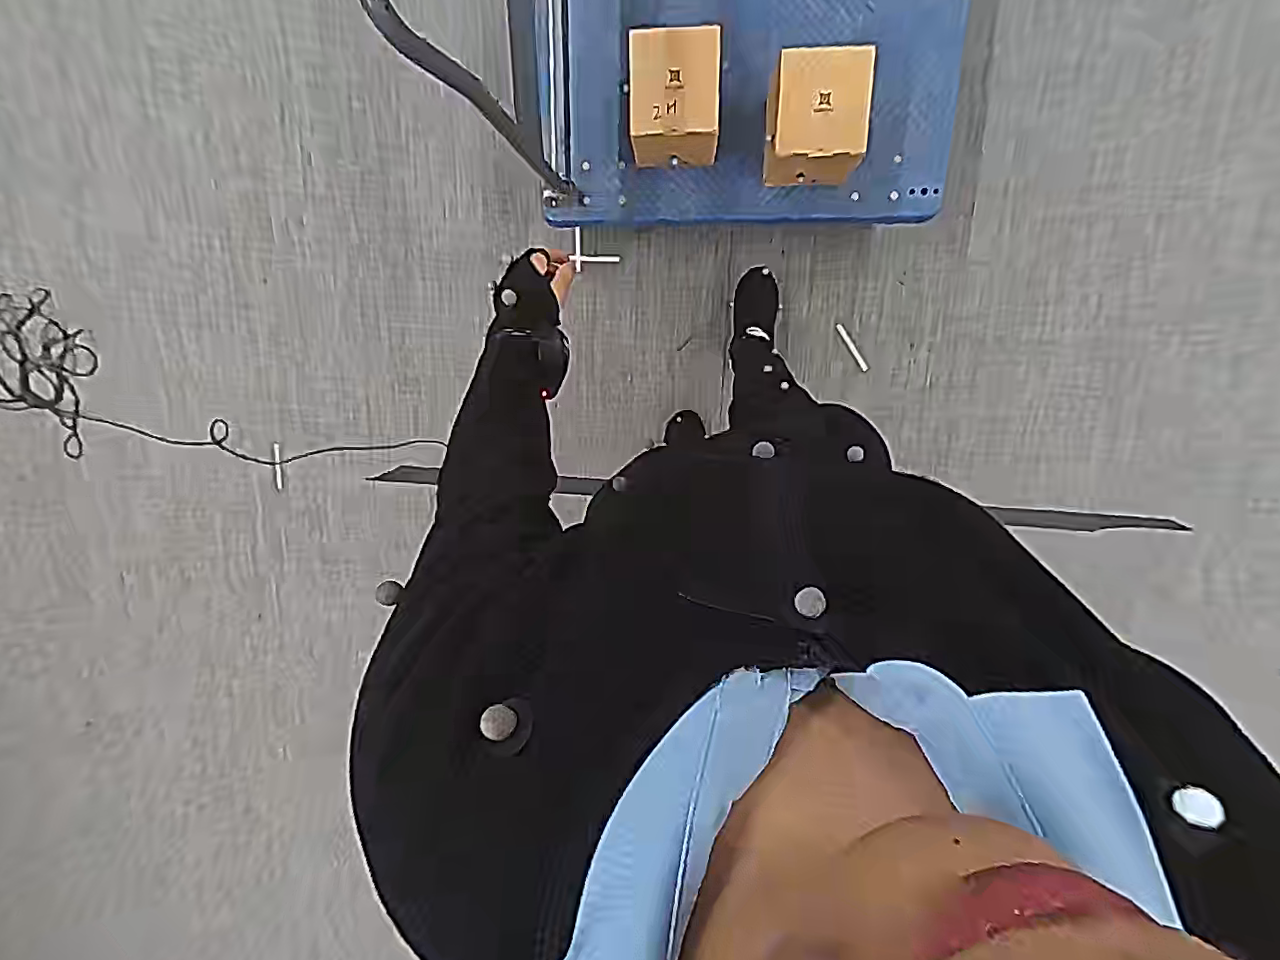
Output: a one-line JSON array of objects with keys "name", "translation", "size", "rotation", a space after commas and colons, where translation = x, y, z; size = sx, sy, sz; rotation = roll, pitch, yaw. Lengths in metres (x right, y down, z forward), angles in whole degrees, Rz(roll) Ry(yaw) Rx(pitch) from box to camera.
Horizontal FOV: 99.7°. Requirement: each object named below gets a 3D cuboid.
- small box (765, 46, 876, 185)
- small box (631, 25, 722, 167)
[{"name": "small box", "translation": [0.340, -0.696, 1.050], "size": [0.168, 0.176, 0.179], "rotation": [1, 102, 5]}, {"name": "small box", "translation": [0.070, -0.742, 1.061], "size": [0.168, 0.176, 0.179], "rotation": [1, 102, 5]}]
